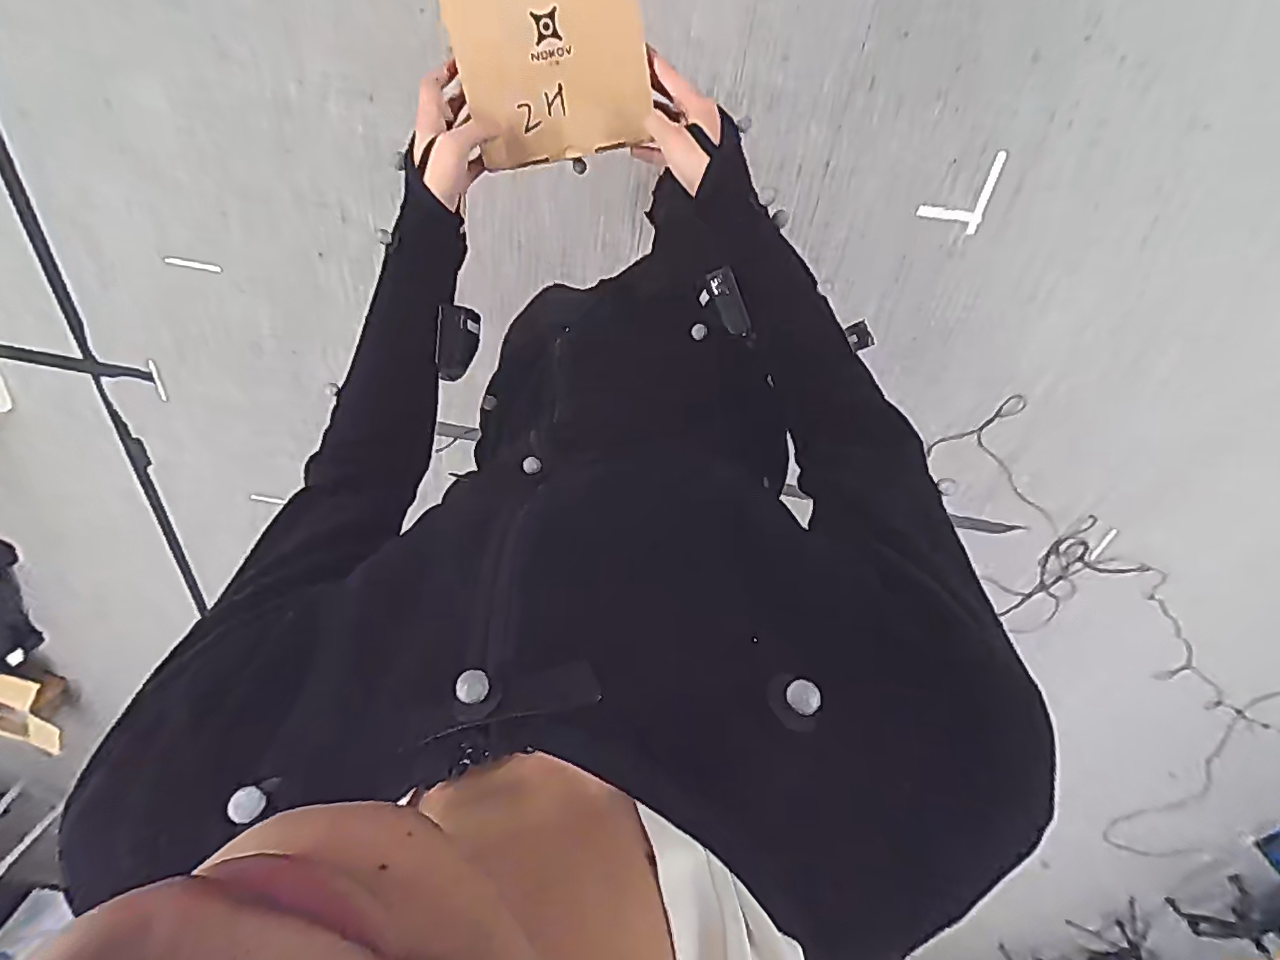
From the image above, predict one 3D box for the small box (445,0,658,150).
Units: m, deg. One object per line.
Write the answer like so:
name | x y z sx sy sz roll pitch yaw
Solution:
small box | -0.081 -0.430 0.514 0.168 0.176 0.179 -9 121 3
